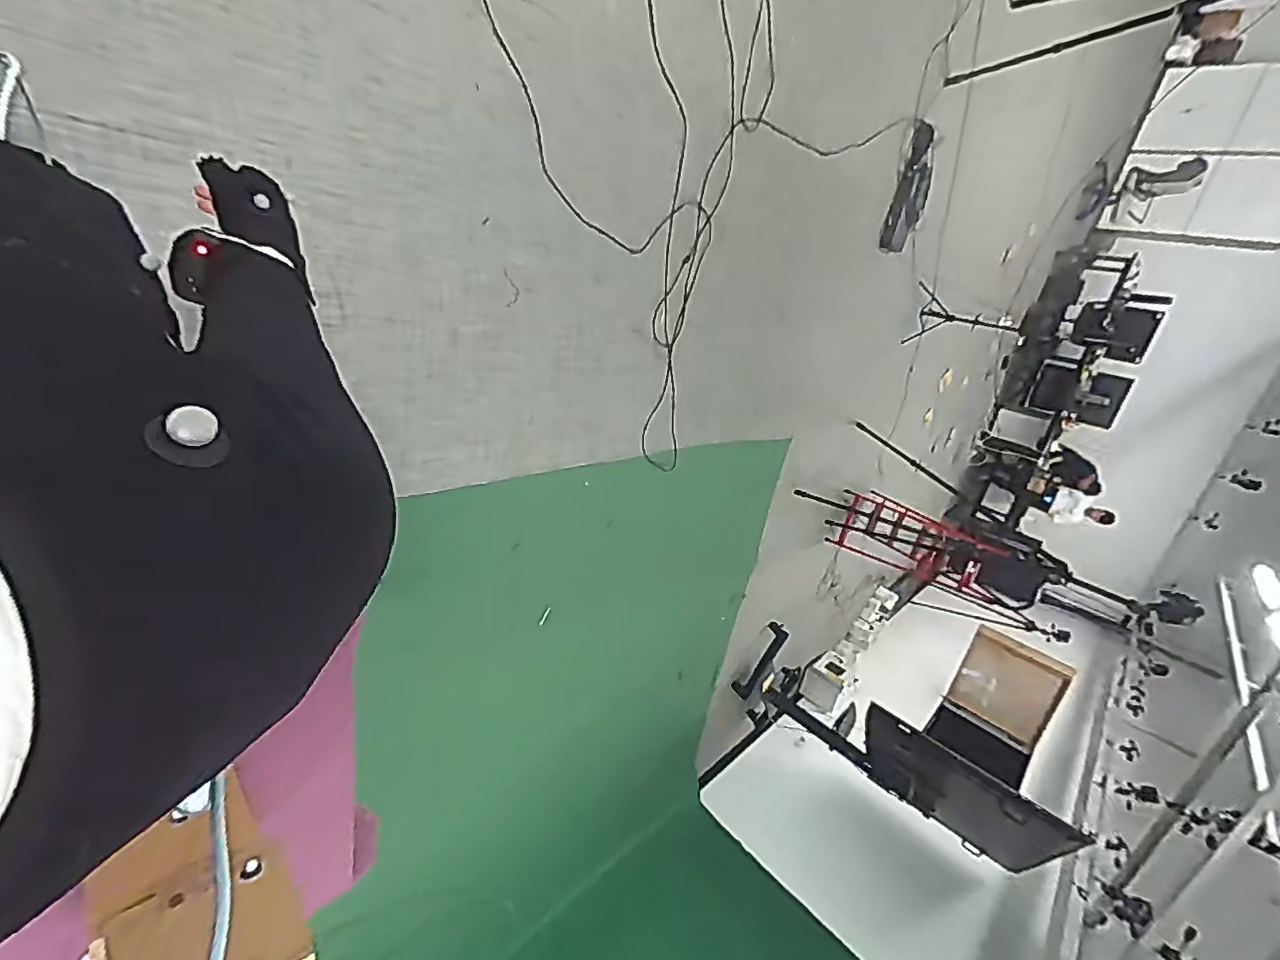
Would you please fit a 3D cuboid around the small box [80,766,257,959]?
[{"bbox_3d":[-0.637,0.545,0.746,0.168,0.176,0.179,-14,122,-43],"label":"small box"}]

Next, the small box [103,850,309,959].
[{"bbox_3d":[-0.514,0.592,0.646,0.168,0.176,0.179,-8,118,-46],"label":"small box"}]
